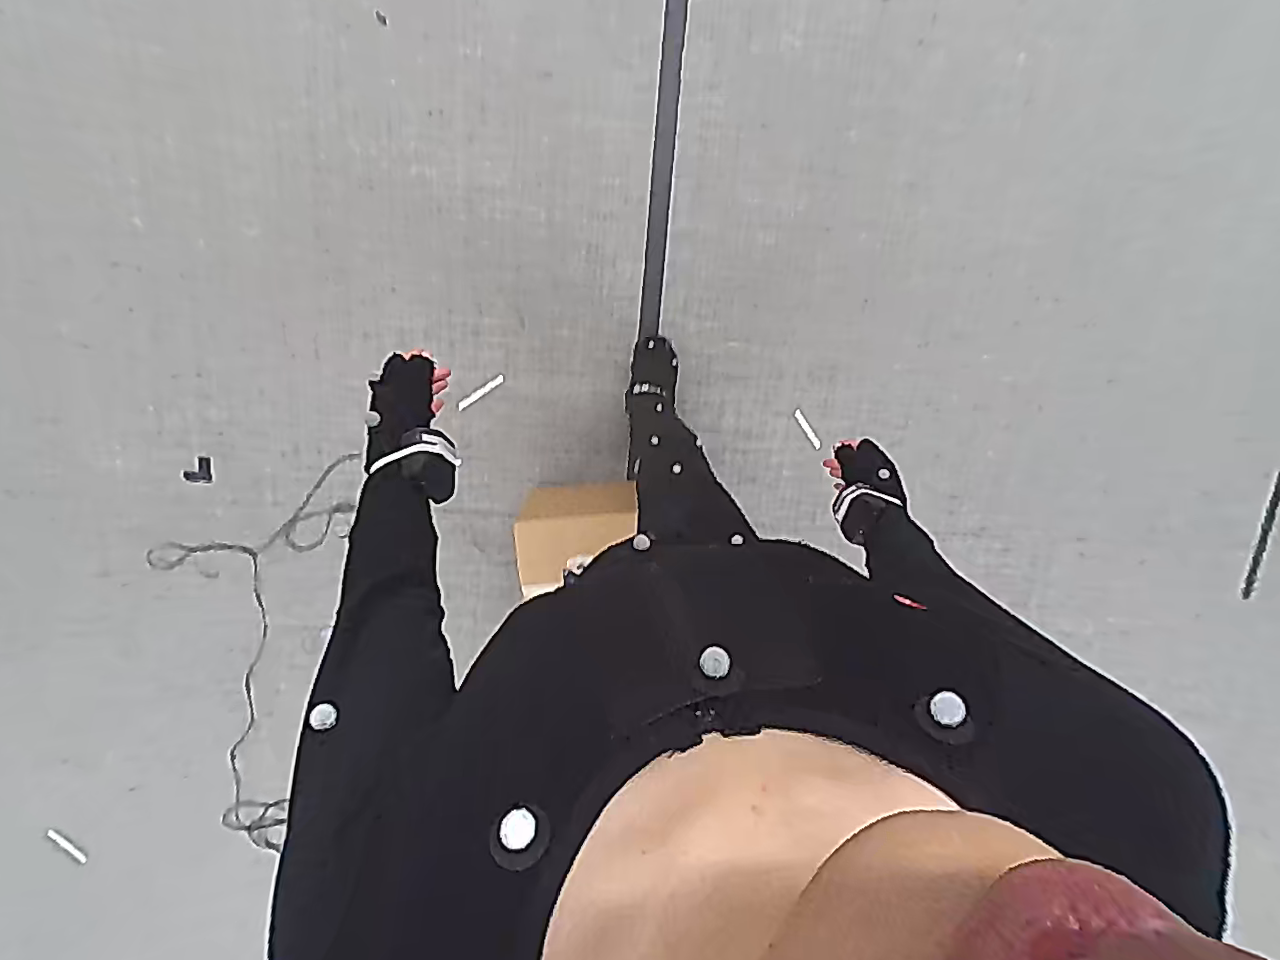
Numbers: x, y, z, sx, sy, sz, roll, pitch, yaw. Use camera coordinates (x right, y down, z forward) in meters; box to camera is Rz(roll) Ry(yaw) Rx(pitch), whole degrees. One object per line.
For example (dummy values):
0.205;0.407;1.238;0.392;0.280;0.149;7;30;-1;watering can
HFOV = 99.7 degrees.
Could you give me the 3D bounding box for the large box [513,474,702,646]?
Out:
-0.071;0.180;1.343;0.408;0.320;0.320;-4;103;-1;large box
